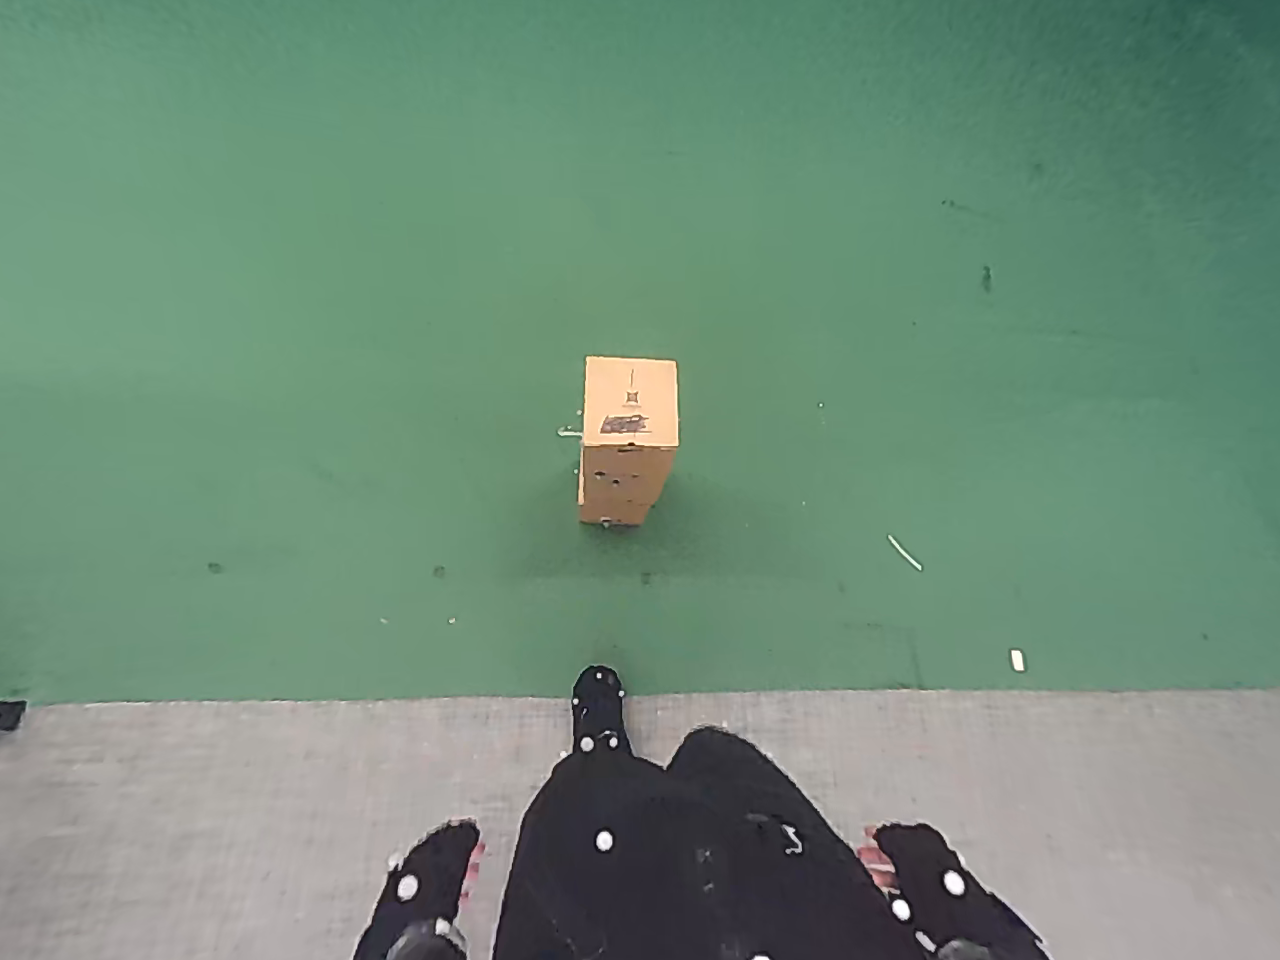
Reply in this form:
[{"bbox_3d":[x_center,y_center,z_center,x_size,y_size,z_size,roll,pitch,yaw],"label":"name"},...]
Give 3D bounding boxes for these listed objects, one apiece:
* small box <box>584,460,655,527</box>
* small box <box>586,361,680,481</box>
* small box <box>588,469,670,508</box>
[{"bbox_3d":[-0.053,0.010,1.337,0.168,0.176,0.179,2,71,-5],"label":"small box"},{"bbox_3d":[-0.016,-0.105,1.032,0.168,0.176,0.179,2,69,-5],"label":"small box"},{"bbox_3d":[-0.029,-0.050,1.186,0.168,0.176,0.179,2,69,-5],"label":"small box"}]
